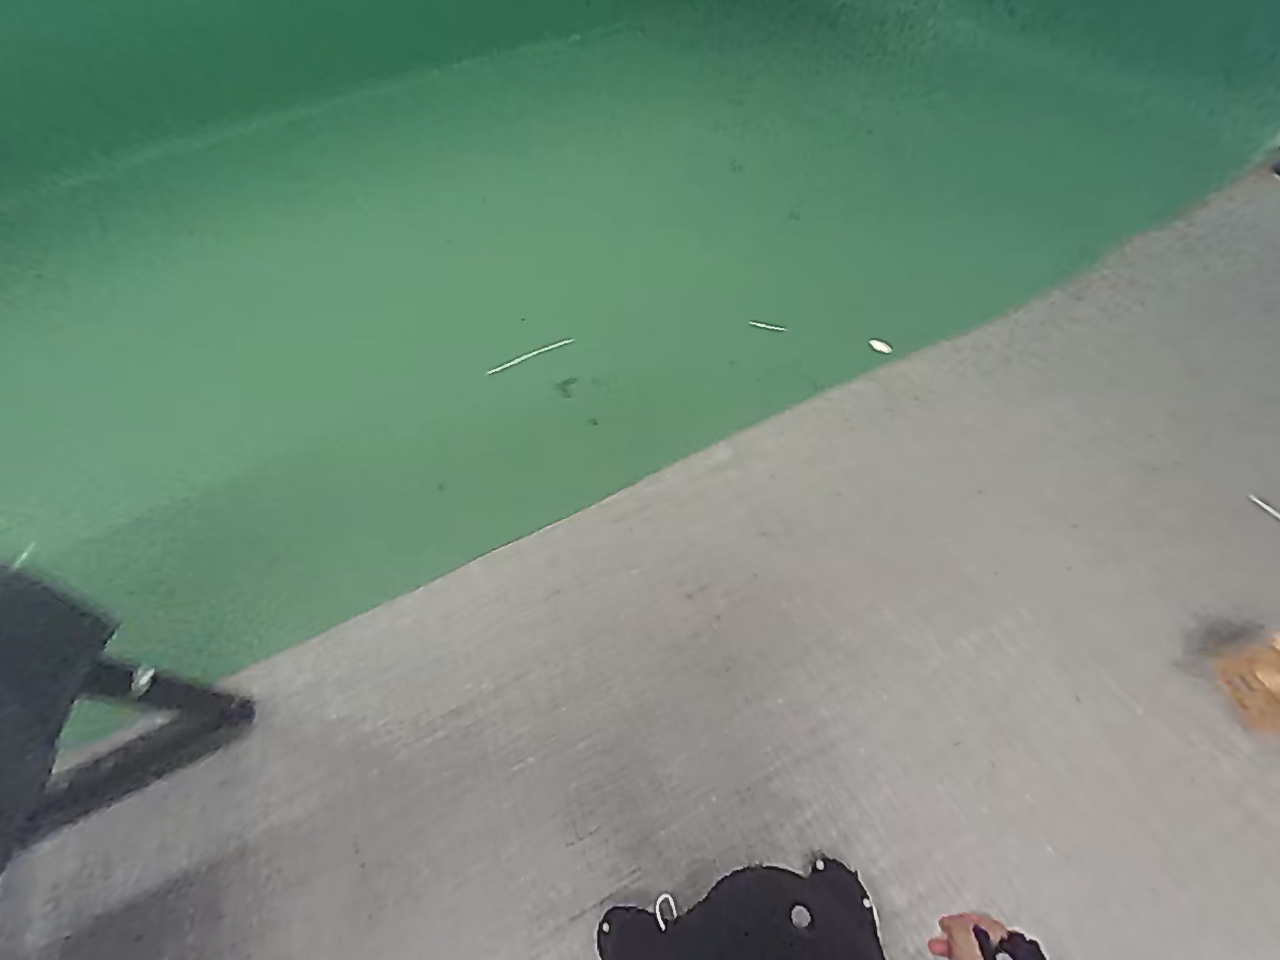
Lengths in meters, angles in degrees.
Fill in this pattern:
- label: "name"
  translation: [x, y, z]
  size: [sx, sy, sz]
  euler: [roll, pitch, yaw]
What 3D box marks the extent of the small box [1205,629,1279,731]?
- label: "small box"
  translation: [1.318, 0.398, 1.076]
  size: [0.179, 0.176, 0.168]
  euler: [-5, 58, 3]
